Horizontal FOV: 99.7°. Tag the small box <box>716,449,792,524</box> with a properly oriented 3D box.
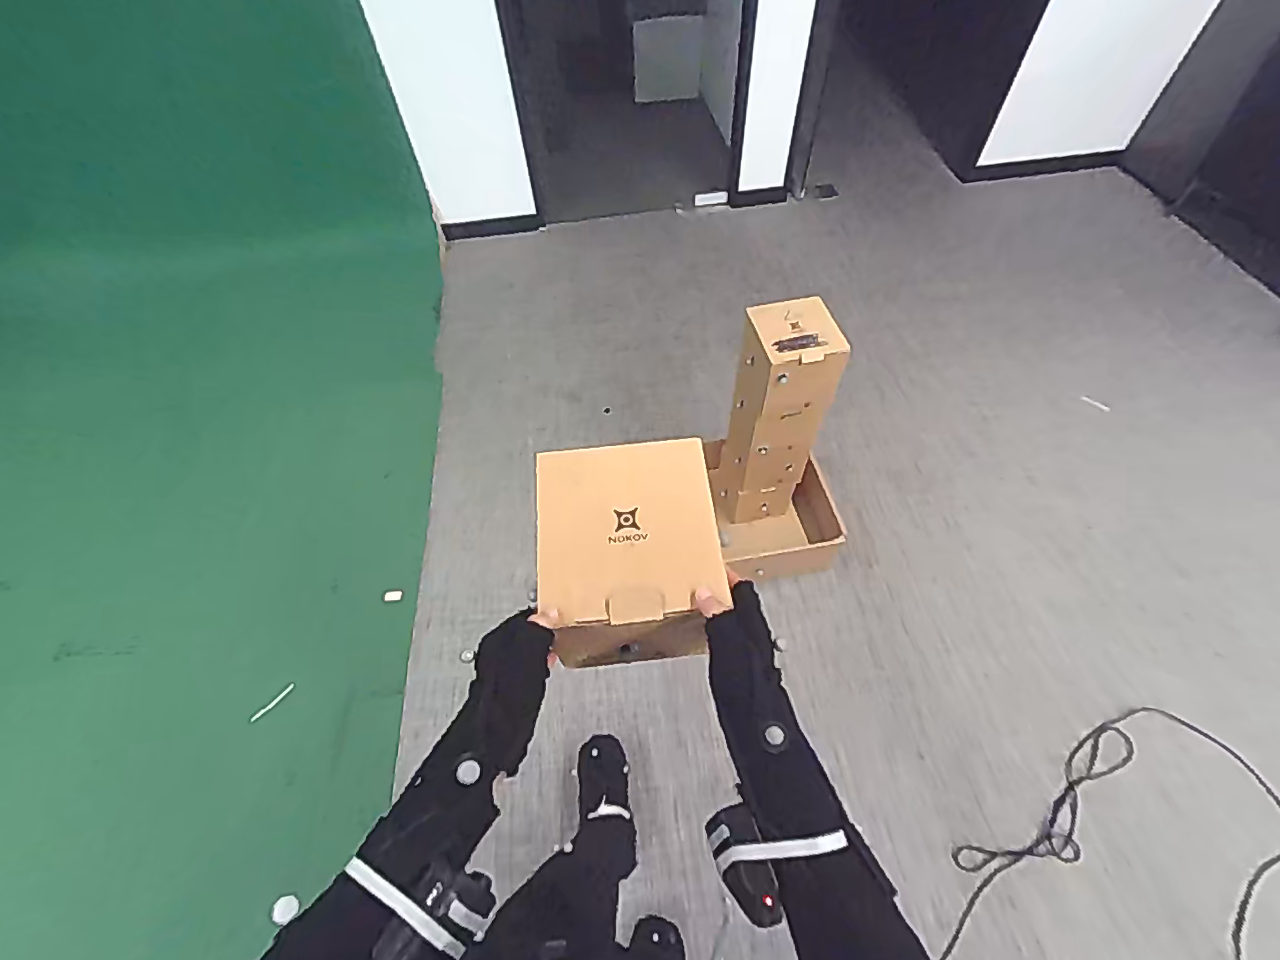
[{"bbox_3d":[0.327,0.013,1.584,0.168,0.176,0.179,-13,55,-4],"label":"small box"}]

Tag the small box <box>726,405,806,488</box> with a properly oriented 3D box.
[{"bbox_3d":[0.332,-0.094,1.436,0.168,0.176,0.179,-9,55,-3],"label":"small box"}]

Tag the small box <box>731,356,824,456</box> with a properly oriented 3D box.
[{"bbox_3d":[0.325,-0.171,1.311,0.168,0.176,0.179,-8,55,-3],"label":"small box"}]

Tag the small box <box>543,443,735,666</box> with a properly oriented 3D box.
[{"bbox_3d":[-0.008,0.082,0.565,0.168,0.176,0.179,-5,61,-2],"label":"small box"}]
